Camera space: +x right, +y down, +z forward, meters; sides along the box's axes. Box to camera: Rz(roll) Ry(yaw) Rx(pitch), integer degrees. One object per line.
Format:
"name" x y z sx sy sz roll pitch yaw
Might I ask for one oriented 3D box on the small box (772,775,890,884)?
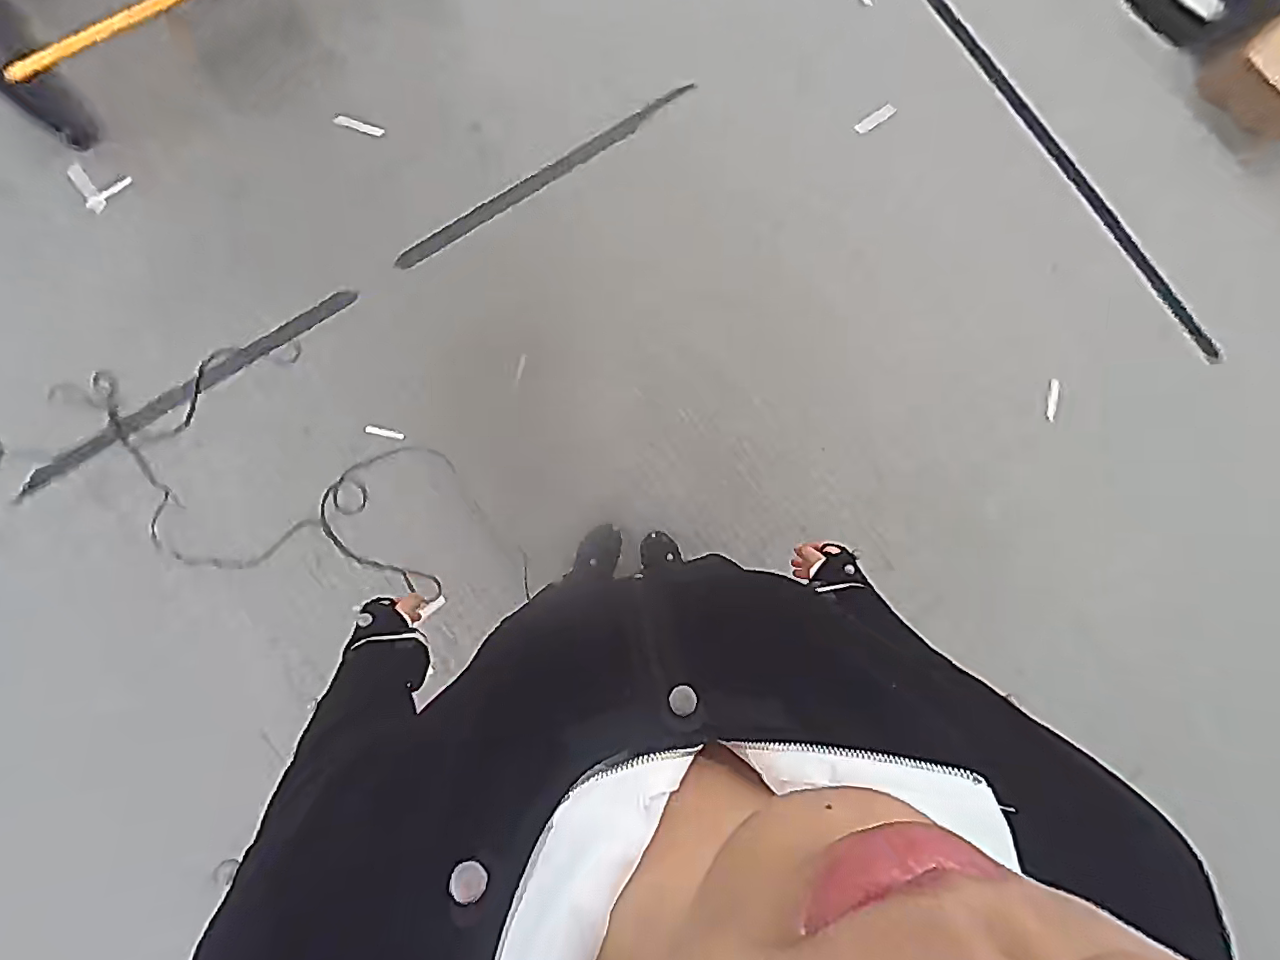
"small box" 0.353 0.643 0.907 0.168 0.176 0.179 -37 85 -8

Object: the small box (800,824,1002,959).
"small box" 0.353 0.617 0.744 0.168 0.176 0.179 -35 85 -7
